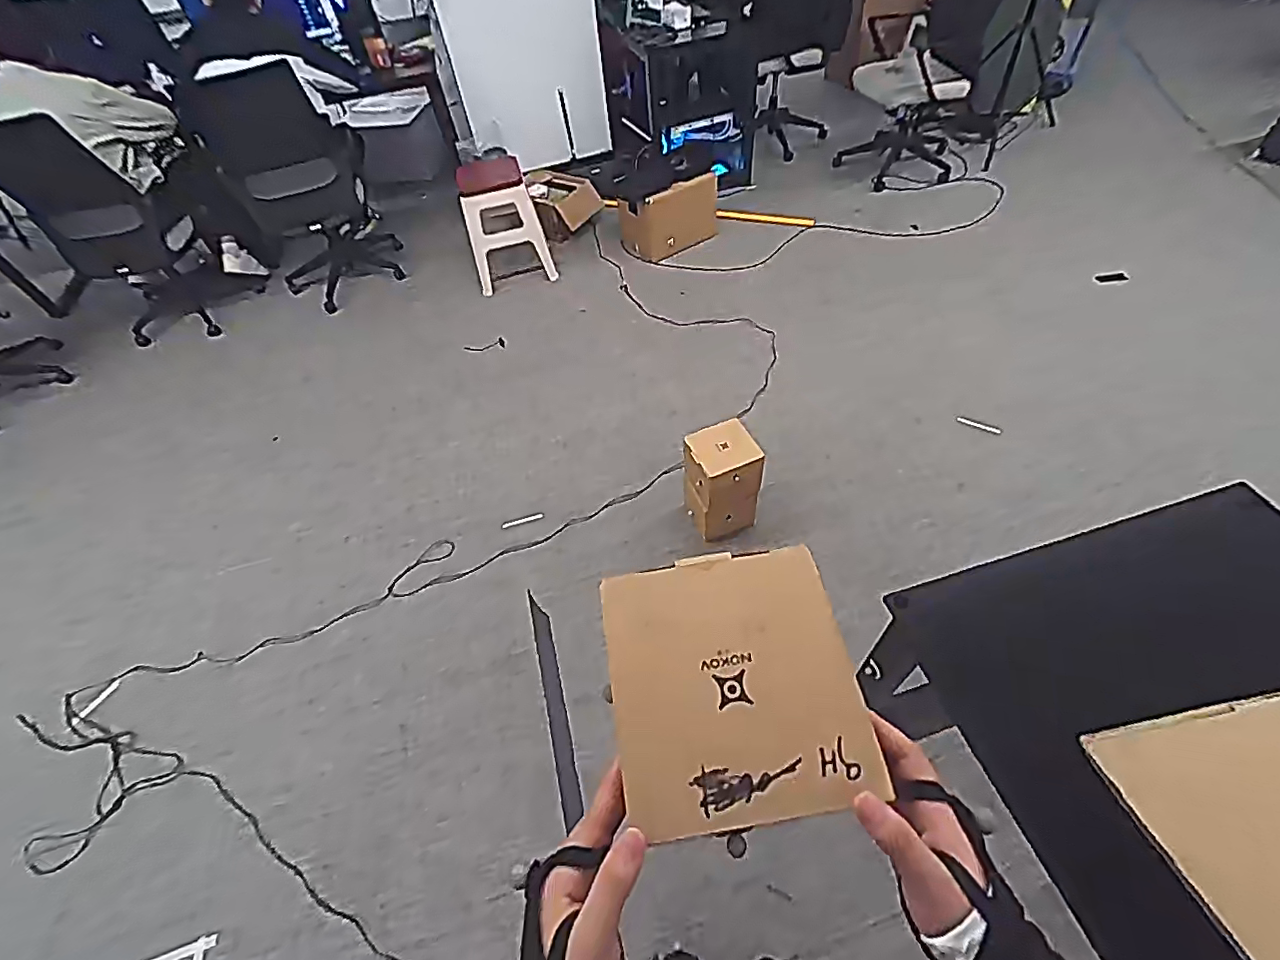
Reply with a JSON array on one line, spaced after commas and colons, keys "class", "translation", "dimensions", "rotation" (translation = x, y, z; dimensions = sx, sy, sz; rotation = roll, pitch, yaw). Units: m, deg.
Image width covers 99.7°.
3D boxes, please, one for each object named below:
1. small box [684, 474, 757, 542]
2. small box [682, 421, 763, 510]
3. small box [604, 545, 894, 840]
[{"class": "small box", "translation": [0.247, 0.065, 1.699], "dimensions": [0.179, 0.176, 0.168], "rotation": [-19, 52, -7]}, {"class": "small box", "translation": [0.237, -0.038, 1.573], "dimensions": [0.179, 0.176, 0.168], "rotation": [-21, 53, -11]}, {"class": "small box", "translation": [0.068, 0.177, 0.439], "dimensions": [0.168, 0.176, 0.179], "rotation": [-10, 57, -1]}]
